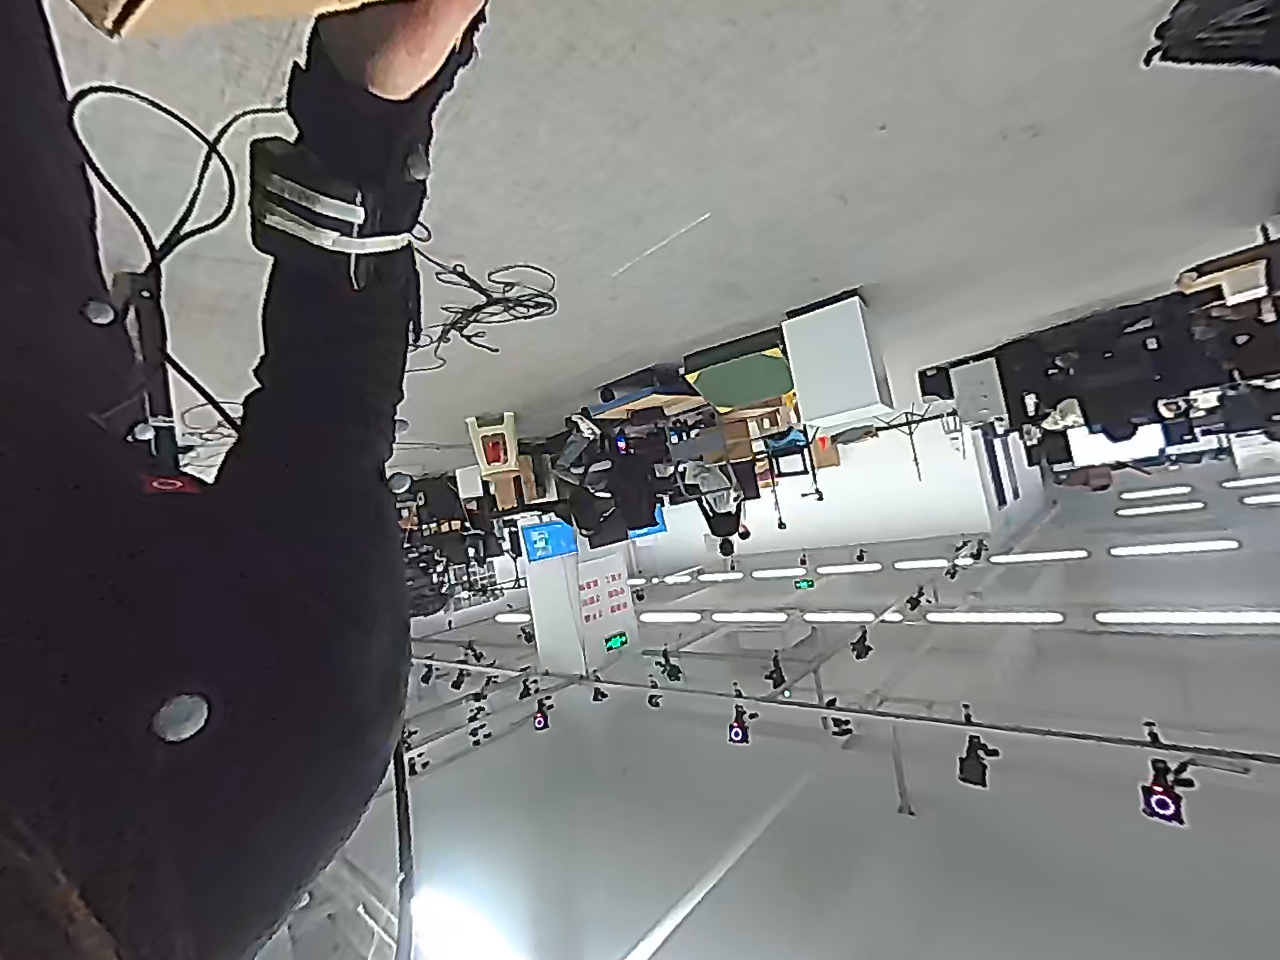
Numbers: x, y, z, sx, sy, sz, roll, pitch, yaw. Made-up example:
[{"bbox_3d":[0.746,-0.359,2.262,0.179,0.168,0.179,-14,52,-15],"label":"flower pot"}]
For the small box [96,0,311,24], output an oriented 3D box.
[{"bbox_3d":[-0.078,-0.244,0.109,0.179,0.176,0.168,-9,-140,30],"label":"small box"}]
